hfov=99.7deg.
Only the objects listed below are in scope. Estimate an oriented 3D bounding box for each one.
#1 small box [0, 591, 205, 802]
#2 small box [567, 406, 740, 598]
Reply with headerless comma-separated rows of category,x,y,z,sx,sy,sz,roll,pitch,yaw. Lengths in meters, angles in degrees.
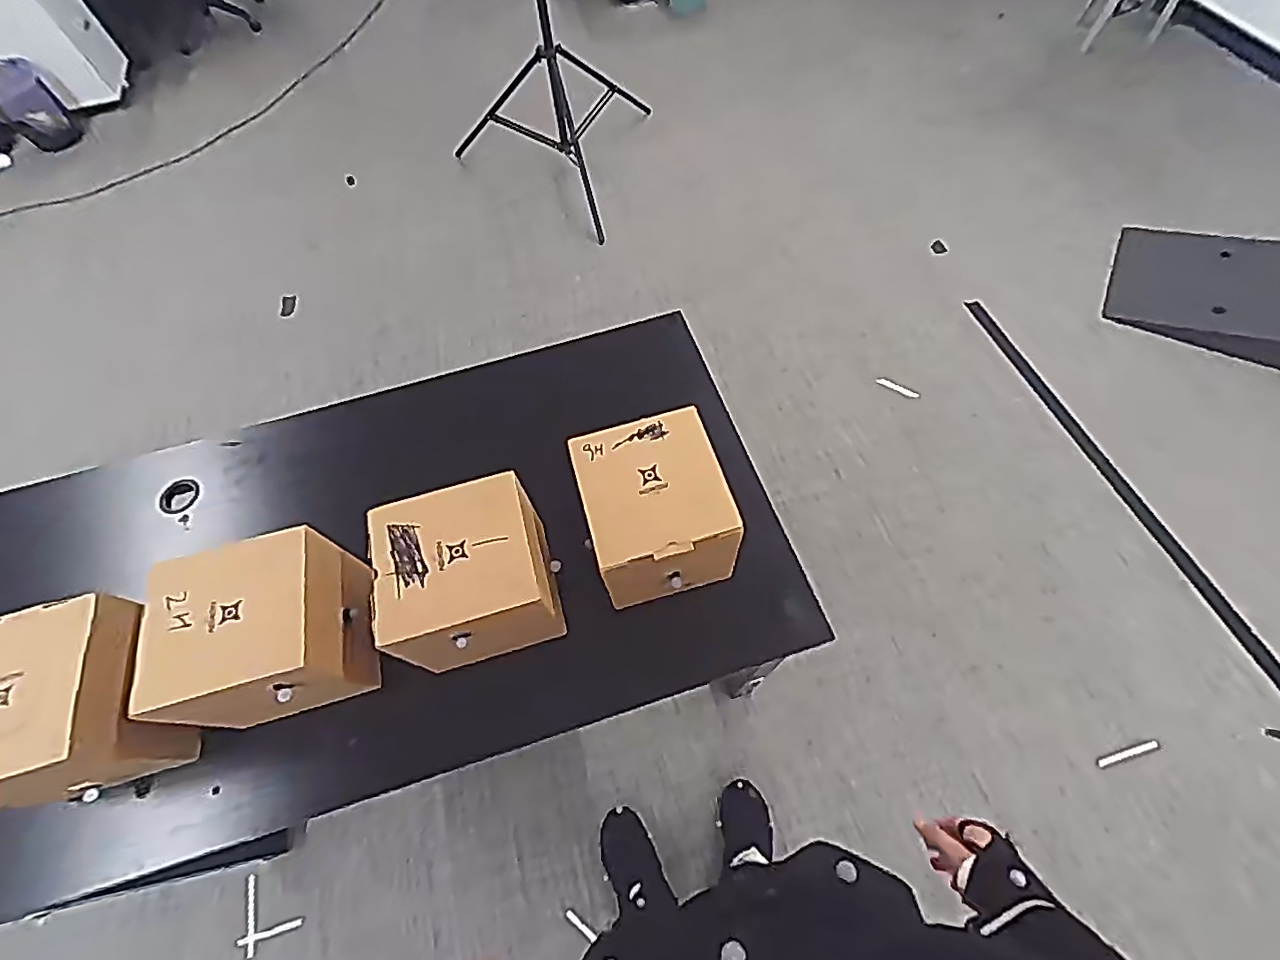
small box,-0.644,0.252,0.618,0.168,0.176,0.179,-17,64,-4
small box,0.016,0.039,0.687,0.168,0.176,0.179,-15,63,-5
